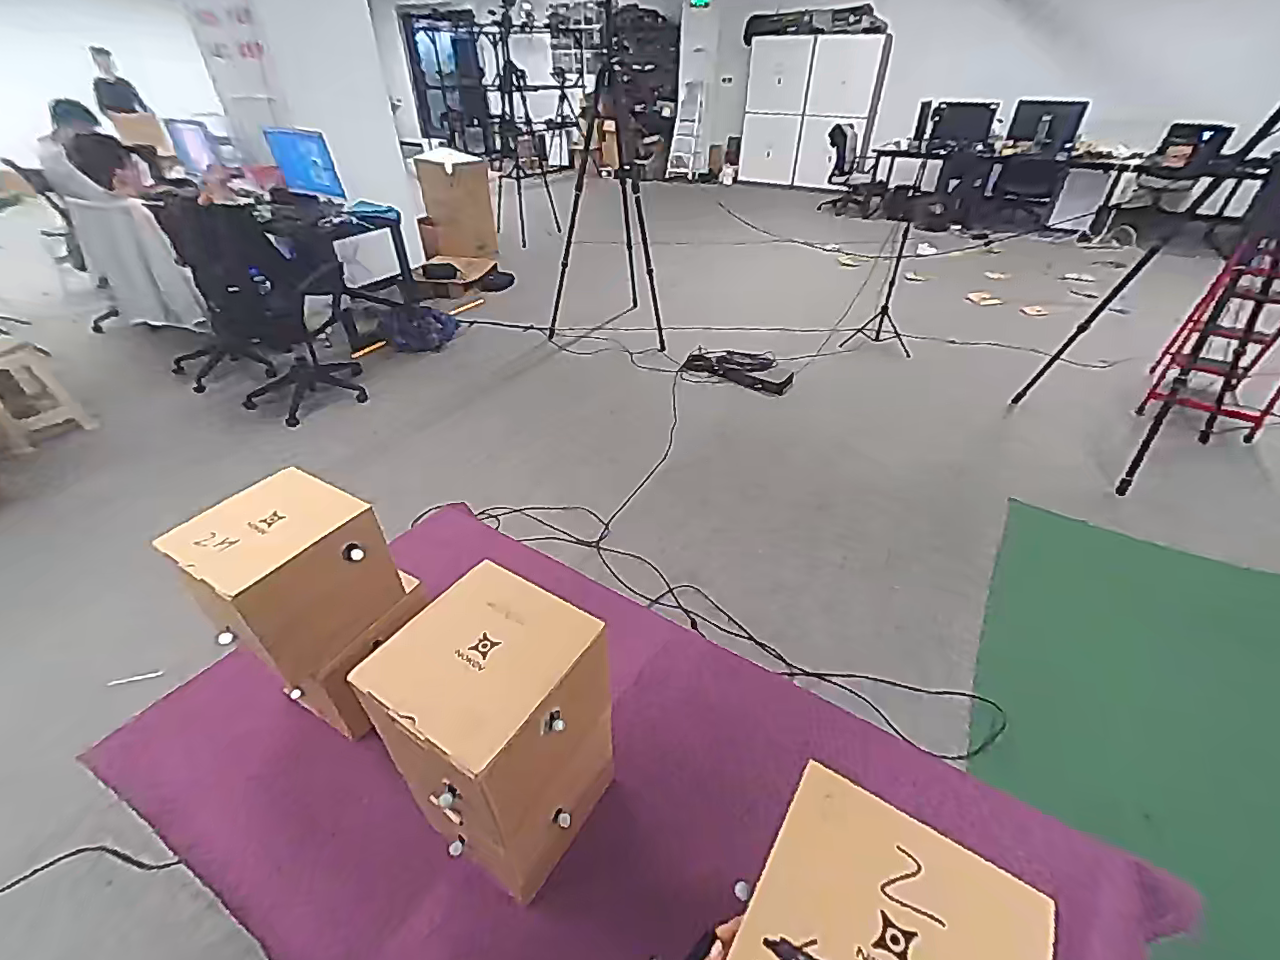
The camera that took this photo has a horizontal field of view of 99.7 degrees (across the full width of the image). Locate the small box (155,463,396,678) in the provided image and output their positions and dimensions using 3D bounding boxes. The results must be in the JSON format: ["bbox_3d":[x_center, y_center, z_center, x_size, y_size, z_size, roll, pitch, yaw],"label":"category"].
[{"bbox_3d":[-0.441,0.111,0.690,0.168,0.176,0.179,20,43,23],"label":"small box"}]

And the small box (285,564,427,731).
[{"bbox_3d":[-0.429,0.229,0.806,0.168,0.176,0.179,19,42,22],"label":"small box"}]

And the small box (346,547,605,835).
[{"bbox_3d":[-0.145,0.206,0.542,0.168,0.176,0.179,21,42,25],"label":"small box"}]

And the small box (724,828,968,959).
[{"bbox_3d":[0.162,0.476,0.488,0.168,0.176,0.179,25,44,29],"label":"small box"}]

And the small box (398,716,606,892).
[{"bbox_3d":[-0.150,0.347,0.658,0.168,0.176,0.179,18,41,24],"label":"small box"}]
